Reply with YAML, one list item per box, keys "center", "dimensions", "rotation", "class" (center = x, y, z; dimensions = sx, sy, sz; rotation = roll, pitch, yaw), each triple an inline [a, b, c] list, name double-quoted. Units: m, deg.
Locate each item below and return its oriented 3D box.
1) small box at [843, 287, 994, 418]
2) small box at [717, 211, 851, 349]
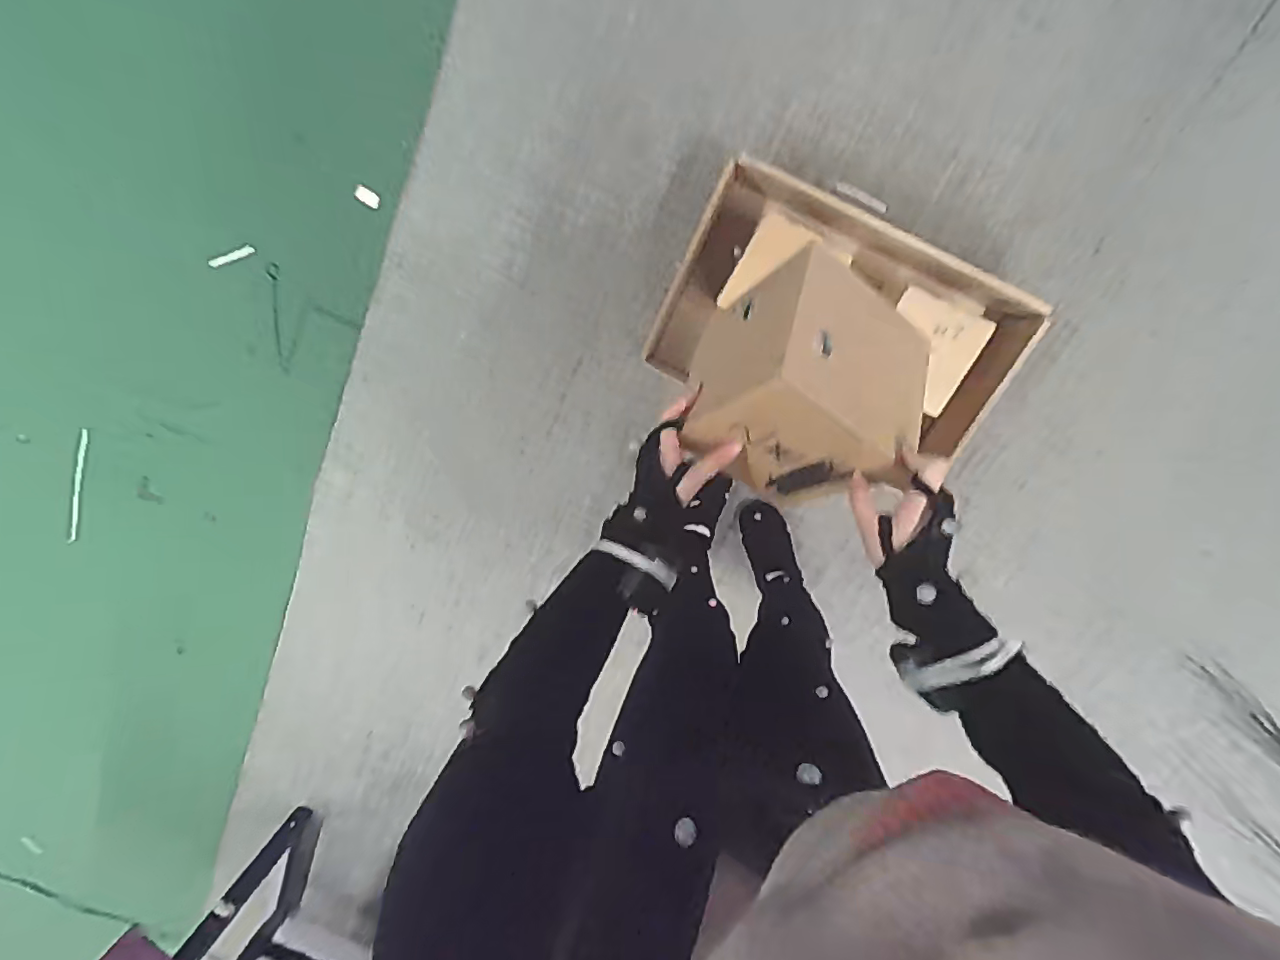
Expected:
- center: [0.503, -0.242, 1.014]
  dimensions: [0.168, 0.176, 0.179]
  rotation: [26, 109, -1]
  class: "small box"
- center: [0.259, -0.366, 1.012]
  dimensions: [0.168, 0.176, 0.179]
  rotation: [30, 108, -3]
  class: "small box"
